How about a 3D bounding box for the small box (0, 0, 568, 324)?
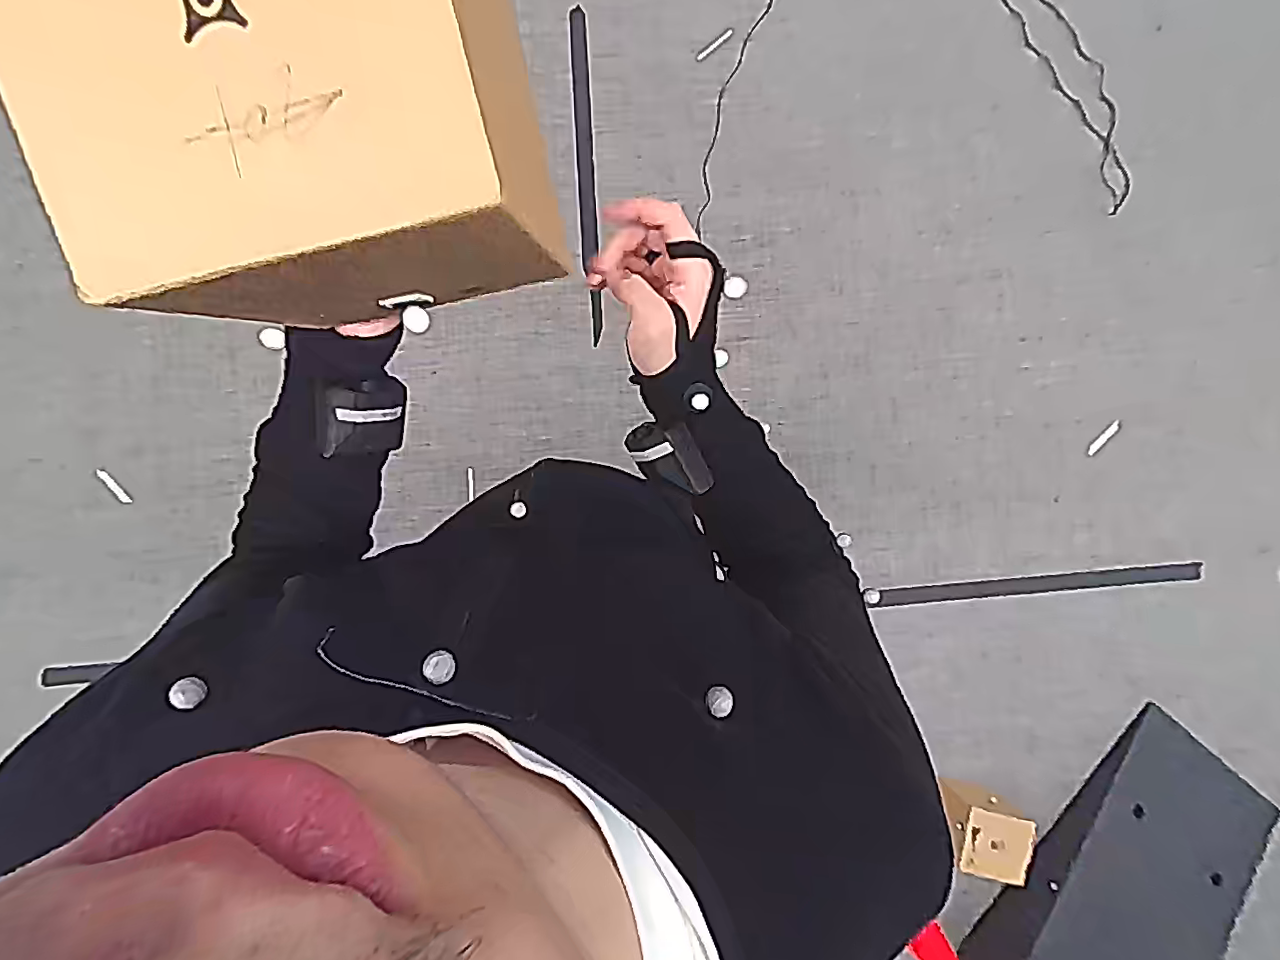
[{"bbox_3d":[-0.144,-0.187,0.270,0.168,0.176,0.179,-13,102,5],"label":"small box"}]
